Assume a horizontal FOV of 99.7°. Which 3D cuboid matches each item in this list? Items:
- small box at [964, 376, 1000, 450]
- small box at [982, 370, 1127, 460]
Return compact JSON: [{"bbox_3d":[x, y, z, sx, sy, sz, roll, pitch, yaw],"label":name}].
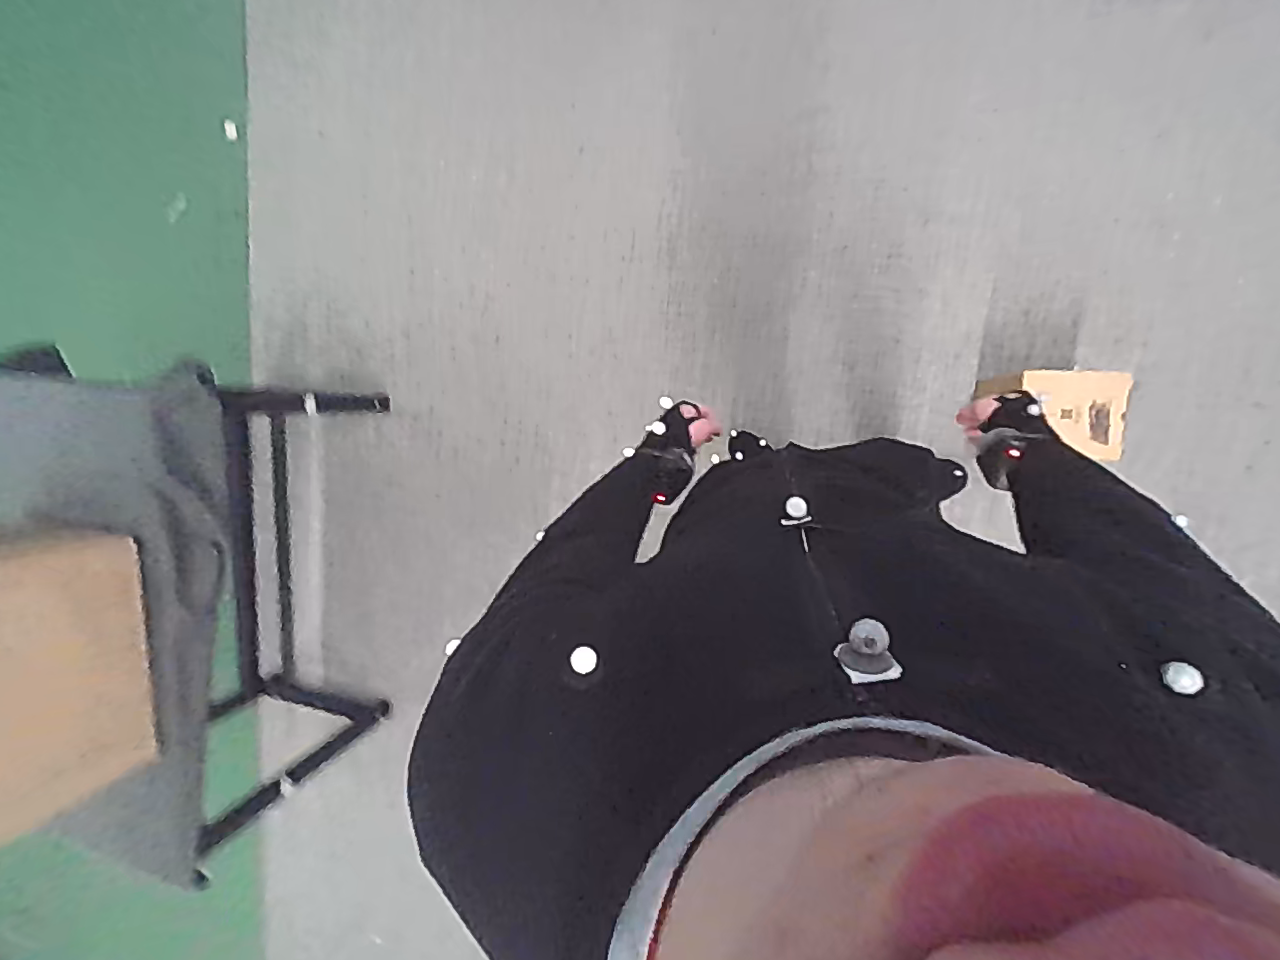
[{"bbox_3d":[0.884,-0.152,1.258,0.179,0.176,0.168,5,98,17],"label":"small box"},{"bbox_3d":[0.832,-0.135,1.103,0.179,0.176,0.168,5,98,16],"label":"small box"}]
